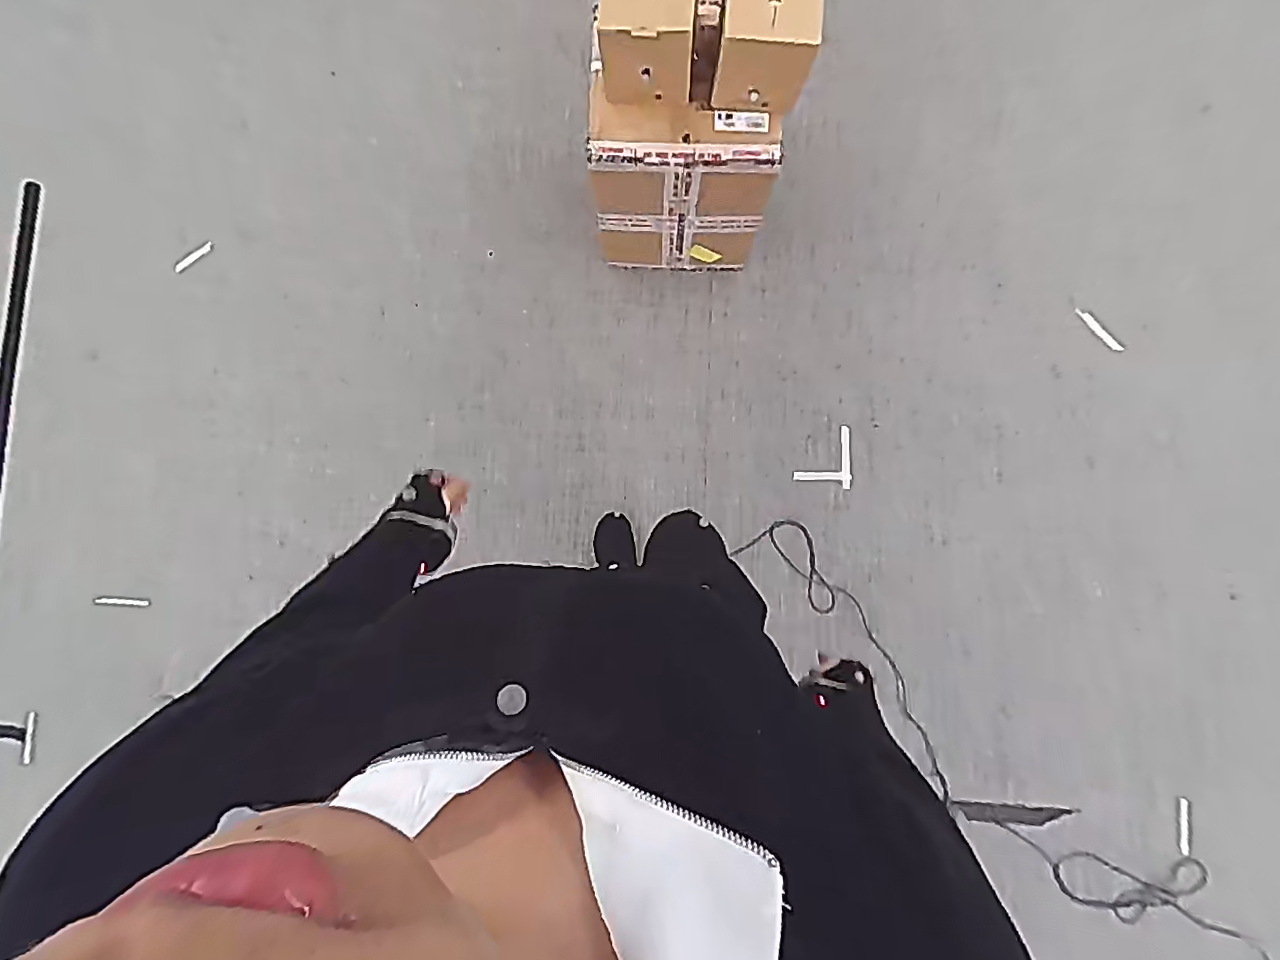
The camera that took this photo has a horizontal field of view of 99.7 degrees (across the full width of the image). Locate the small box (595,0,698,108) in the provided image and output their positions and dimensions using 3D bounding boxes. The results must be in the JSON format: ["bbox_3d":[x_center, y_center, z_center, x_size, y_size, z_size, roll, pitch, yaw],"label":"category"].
[{"bbox_3d":[0.018,-0.828,0.999,0.168,0.176,0.179,5,88,3],"label":"small box"}]

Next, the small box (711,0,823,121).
[{"bbox_3d":[0.227,-0.809,0.996,0.168,0.176,0.179,5,88,0],"label":"small box"}]
